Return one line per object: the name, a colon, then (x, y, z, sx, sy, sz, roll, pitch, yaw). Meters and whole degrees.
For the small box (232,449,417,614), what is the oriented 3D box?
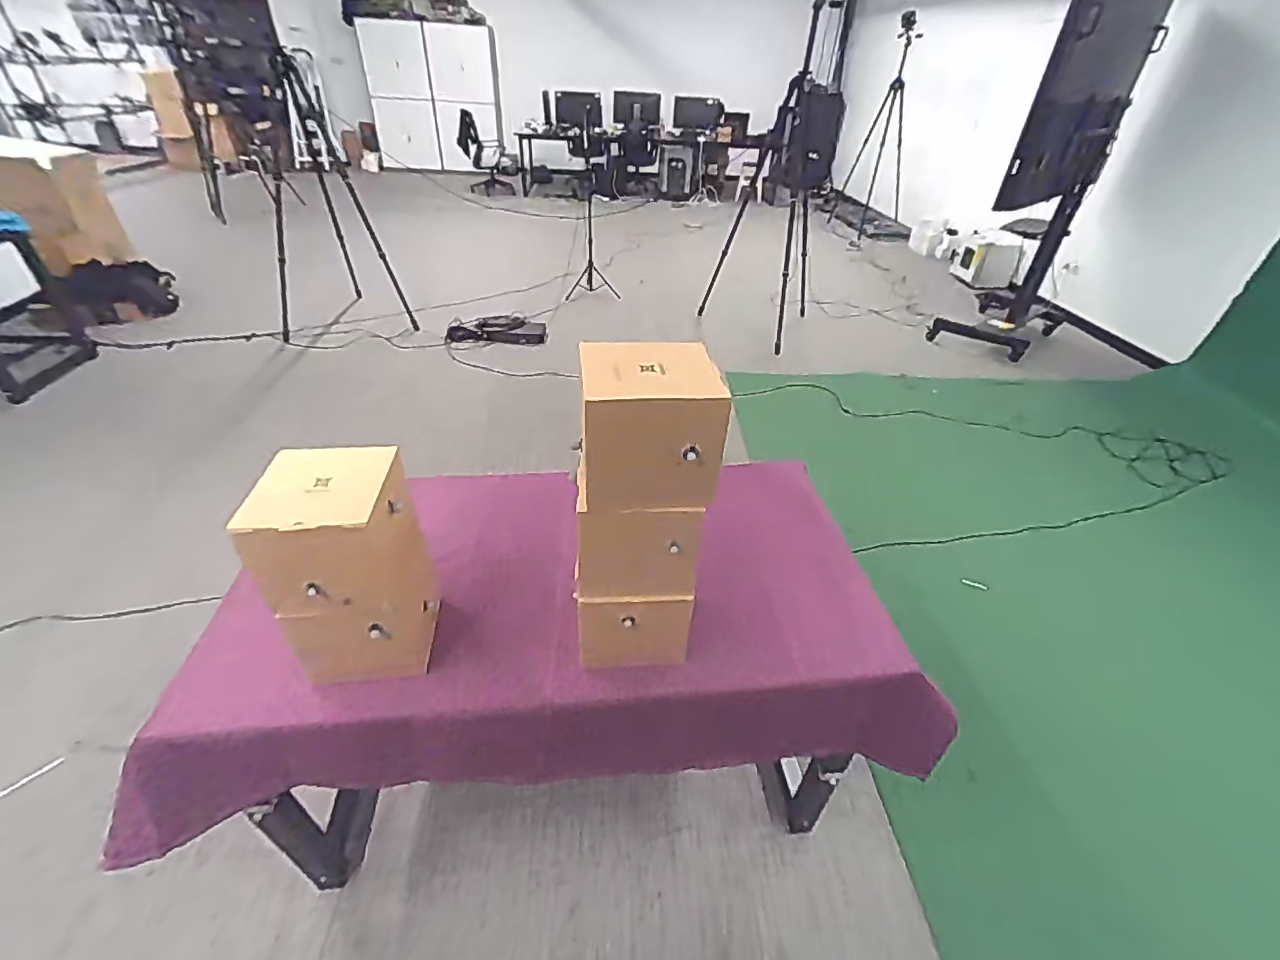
small box: (-0.434, 0.071, 0.783, 0.168, 0.176, 0.179, -2, 38, -7)

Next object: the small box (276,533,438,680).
small box: (-0.439, 0.204, 0.879, 0.179, 0.176, 0.168, -2, 37, -7)

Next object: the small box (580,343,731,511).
small box: (0.008, -0.072, 0.732, 0.179, 0.176, 0.168, -2, 37, -7)

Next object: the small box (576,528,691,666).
small box: (-0.017, 0.199, 0.917, 0.179, 0.176, 0.168, 0, 38, -5)
